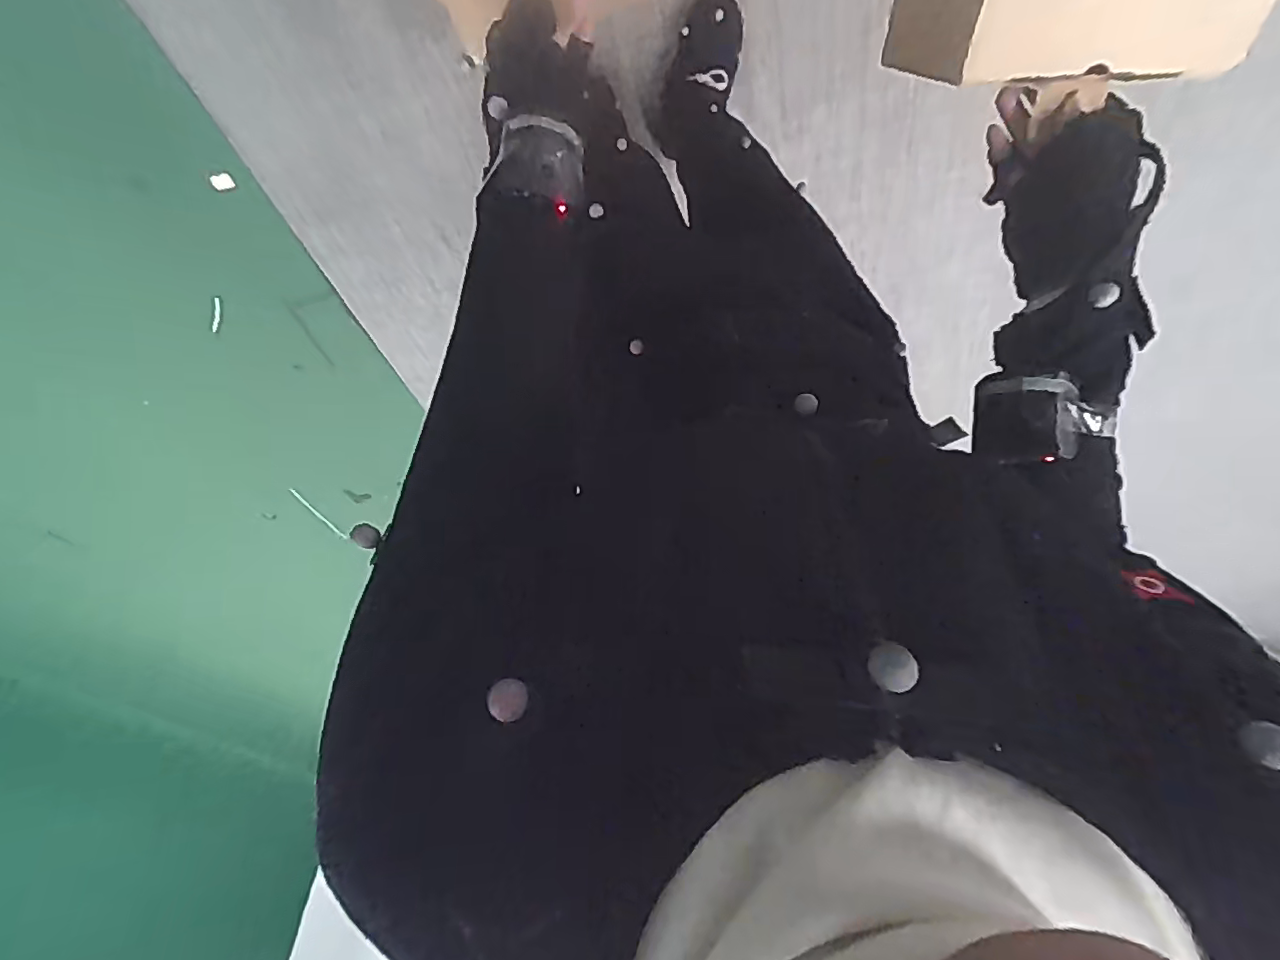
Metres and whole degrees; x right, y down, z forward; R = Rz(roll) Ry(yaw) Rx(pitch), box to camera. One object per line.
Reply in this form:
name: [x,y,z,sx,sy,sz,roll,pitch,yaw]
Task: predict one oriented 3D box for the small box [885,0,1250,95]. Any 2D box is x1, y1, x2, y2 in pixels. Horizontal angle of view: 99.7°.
small box: [0.278,-0.370,0.350,0.168,0.176,0.179,0,132,4]
